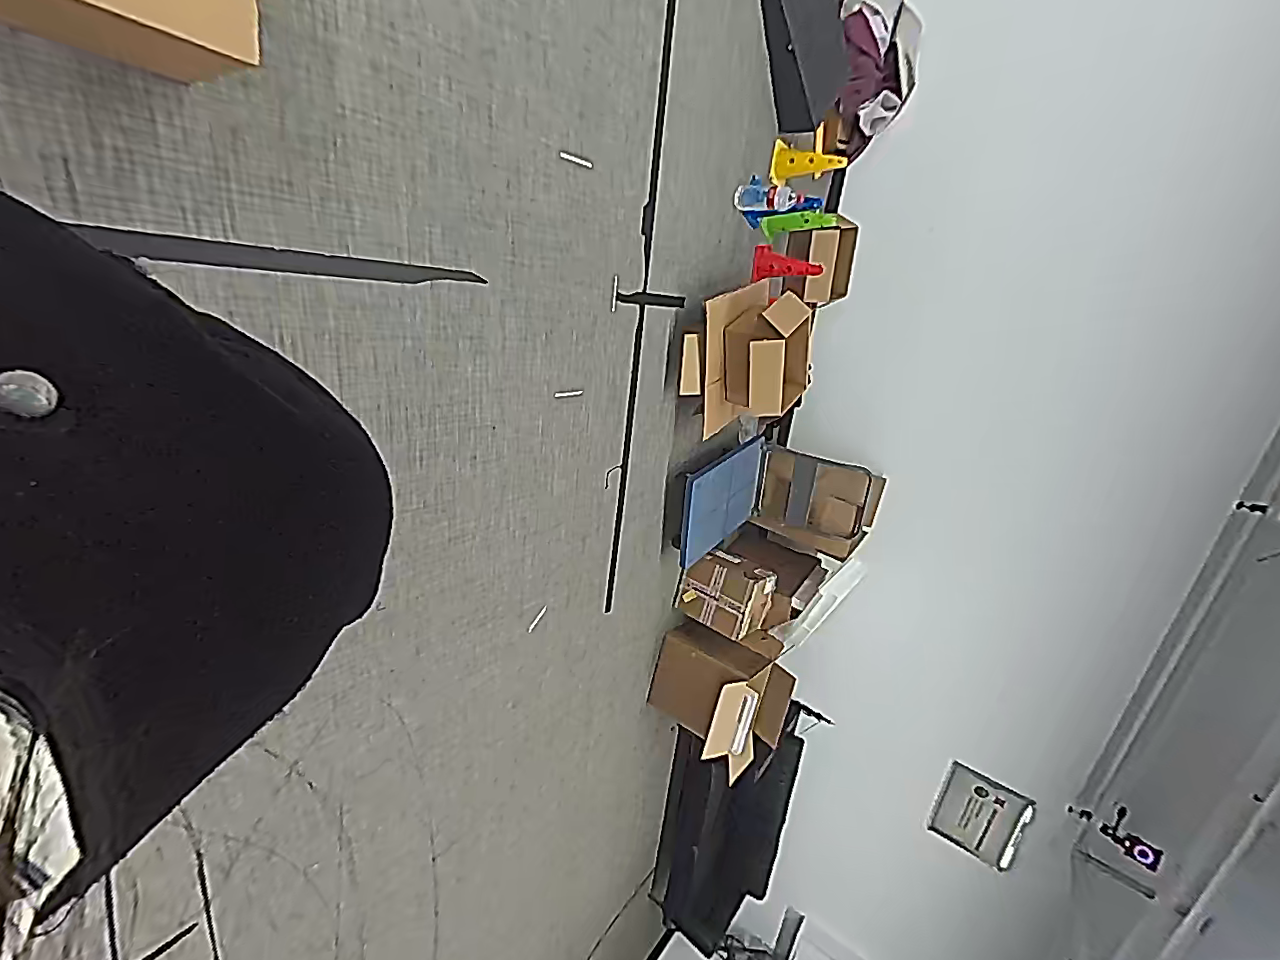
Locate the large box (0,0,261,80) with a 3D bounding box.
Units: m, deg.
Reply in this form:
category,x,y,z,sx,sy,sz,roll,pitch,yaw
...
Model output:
category,x,y,z,sx,sy,sz,roll,pitch,yaw
large box,-0.836,-0.829,0.756,0.408,0.320,0.320,-17,121,-53
